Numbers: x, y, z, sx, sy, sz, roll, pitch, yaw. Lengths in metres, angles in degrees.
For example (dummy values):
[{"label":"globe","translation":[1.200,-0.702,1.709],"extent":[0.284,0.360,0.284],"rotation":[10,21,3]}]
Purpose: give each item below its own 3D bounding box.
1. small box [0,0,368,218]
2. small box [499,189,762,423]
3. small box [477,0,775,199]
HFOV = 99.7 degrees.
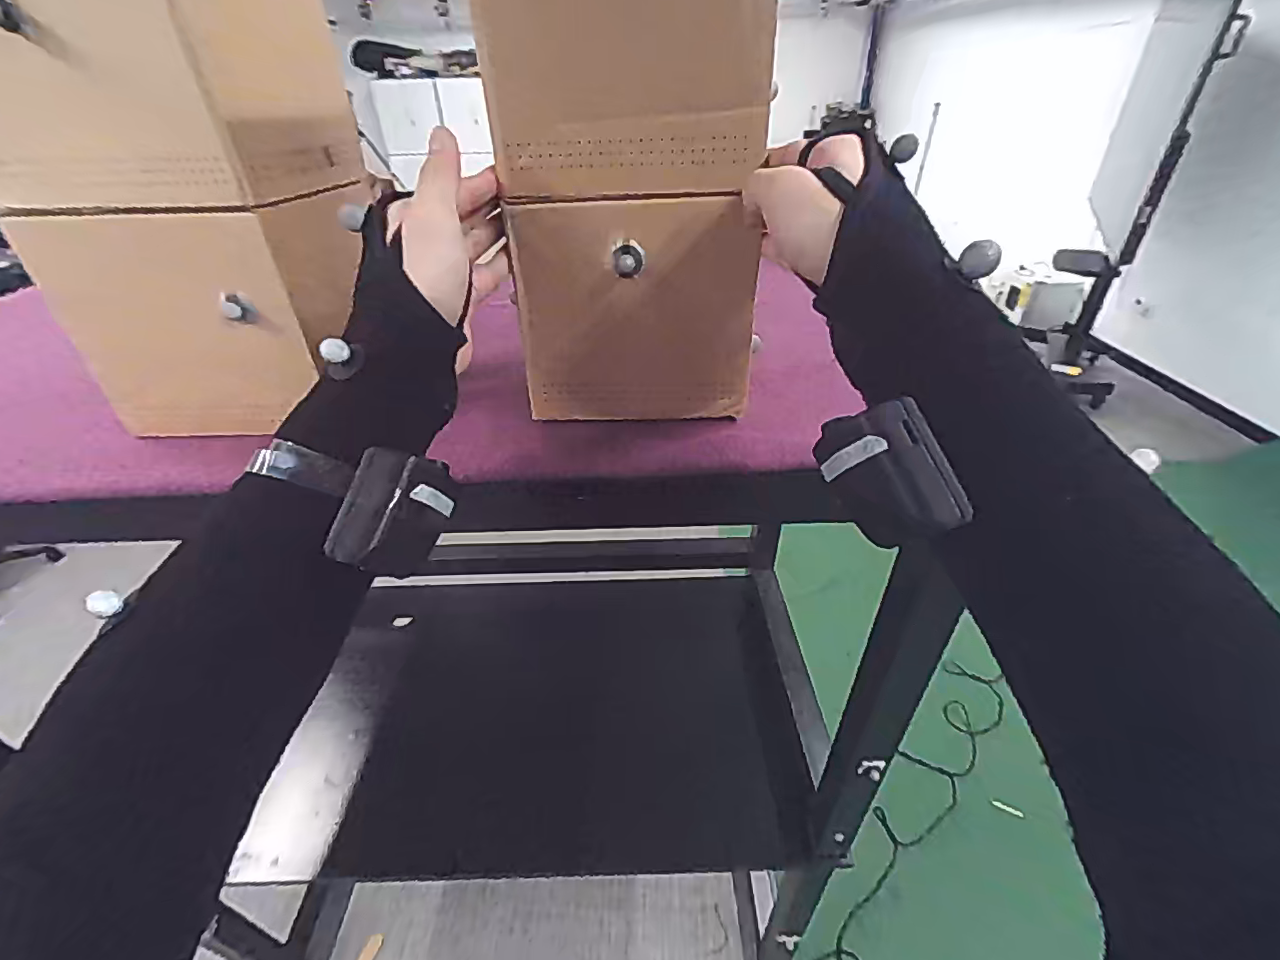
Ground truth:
[{"label":"small box","translation":[-0.324,-0.282,0.367],"extent":[0.179,0.176,0.168],"rotation":[-1,35,2]},{"label":"small box","translation":[0.000,-0.158,0.459],"extent":[0.179,0.176,0.168],"rotation":[0,35,3]},{"label":"small box","translation":[-0.005,-0.291,0.368],"extent":[0.179,0.176,0.168],"rotation":[1,35,4]}]
